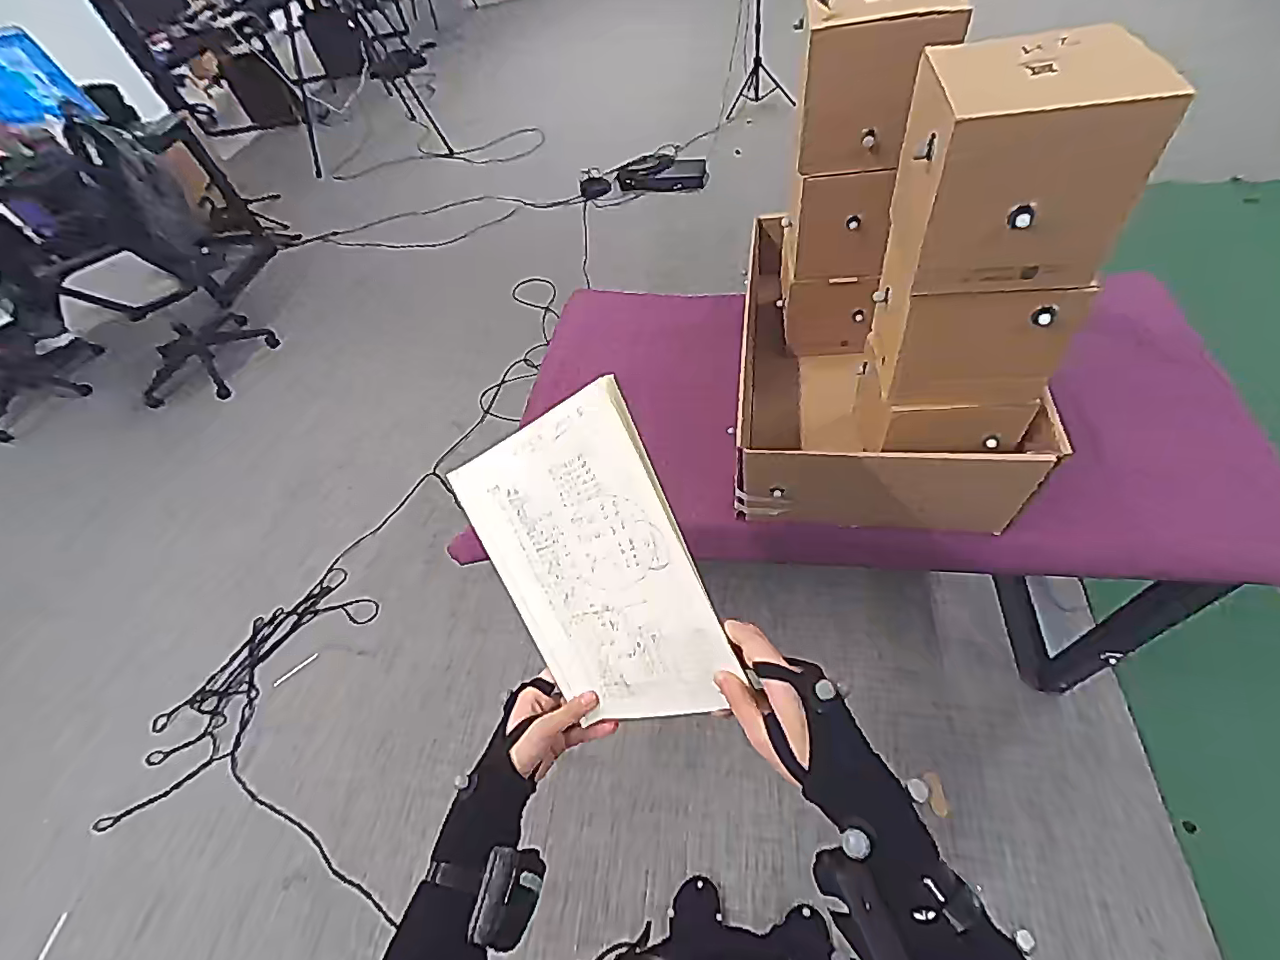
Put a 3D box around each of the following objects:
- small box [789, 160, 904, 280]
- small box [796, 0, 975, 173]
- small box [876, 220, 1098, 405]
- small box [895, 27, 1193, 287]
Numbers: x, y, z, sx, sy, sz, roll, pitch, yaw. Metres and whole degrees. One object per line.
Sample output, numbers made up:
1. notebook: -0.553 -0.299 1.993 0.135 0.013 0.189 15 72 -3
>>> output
1. small box: 0.335 -0.438 0.851 0.179 0.176 0.168 0 55 11
2. small box: 0.309 -0.536 0.722 0.179 0.176 0.168 2 55 11
3. small box: 0.396 -0.206 0.662 0.179 0.176 0.168 2 53 12
4. small box: 0.364 -0.307 0.535 0.168 0.176 0.179 2 52 12
